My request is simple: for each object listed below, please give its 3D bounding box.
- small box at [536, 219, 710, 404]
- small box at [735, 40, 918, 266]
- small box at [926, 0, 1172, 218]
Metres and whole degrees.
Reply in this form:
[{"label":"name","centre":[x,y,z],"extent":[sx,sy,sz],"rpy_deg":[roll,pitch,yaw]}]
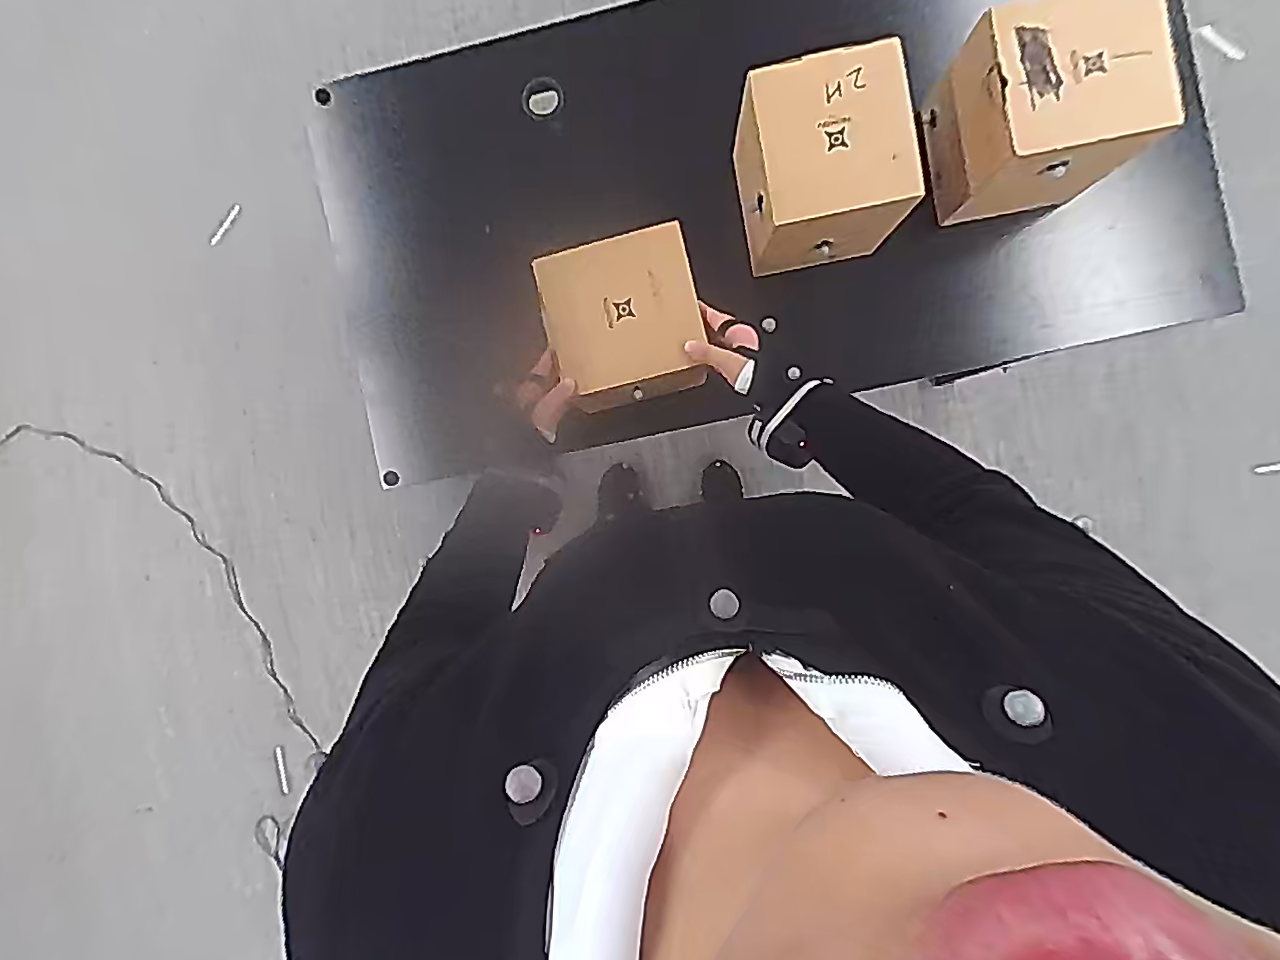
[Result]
[{"label":"small box","centre":[-0.015,-0.202,0.703],"extent":[0.179,0.176,0.168],"rpy_deg":[-14,91,4]},{"label":"small box","centre":[0.220,-0.387,0.679],"extent":[0.168,0.176,0.179],"rpy_deg":[-10,91,4]},{"label":"small box","centre":[0.474,-0.446,0.659],"extent":[0.179,0.176,0.168],"rpy_deg":[-9,91,4]}]
